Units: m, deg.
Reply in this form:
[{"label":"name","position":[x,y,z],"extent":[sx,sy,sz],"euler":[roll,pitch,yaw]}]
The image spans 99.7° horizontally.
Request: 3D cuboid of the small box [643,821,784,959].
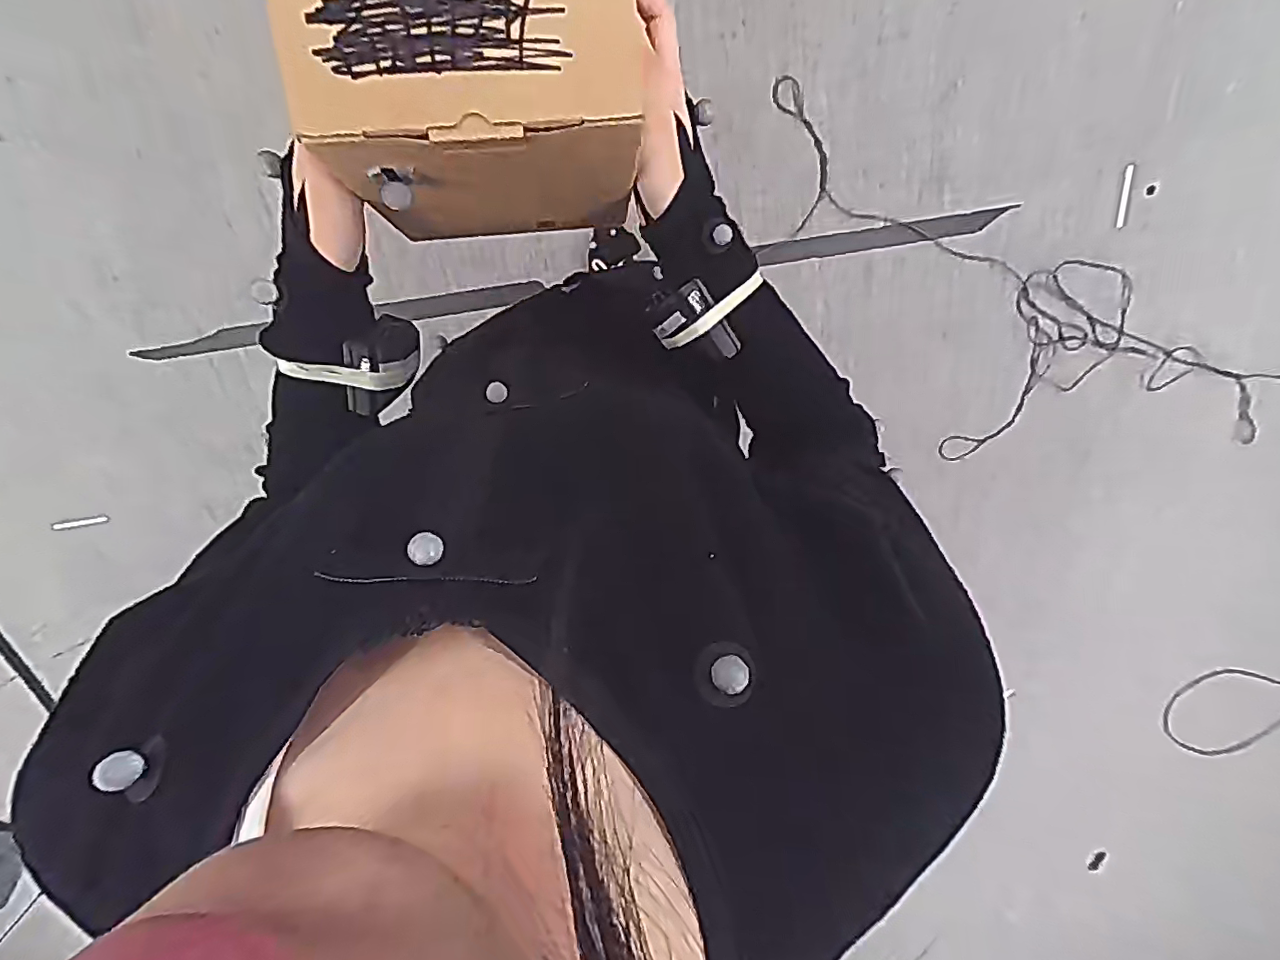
[{"label":"small box","position":[0.101,0.614,0.762],"extent":[0.168,0.176,0.179],"euler":[-11,113,1]}]
